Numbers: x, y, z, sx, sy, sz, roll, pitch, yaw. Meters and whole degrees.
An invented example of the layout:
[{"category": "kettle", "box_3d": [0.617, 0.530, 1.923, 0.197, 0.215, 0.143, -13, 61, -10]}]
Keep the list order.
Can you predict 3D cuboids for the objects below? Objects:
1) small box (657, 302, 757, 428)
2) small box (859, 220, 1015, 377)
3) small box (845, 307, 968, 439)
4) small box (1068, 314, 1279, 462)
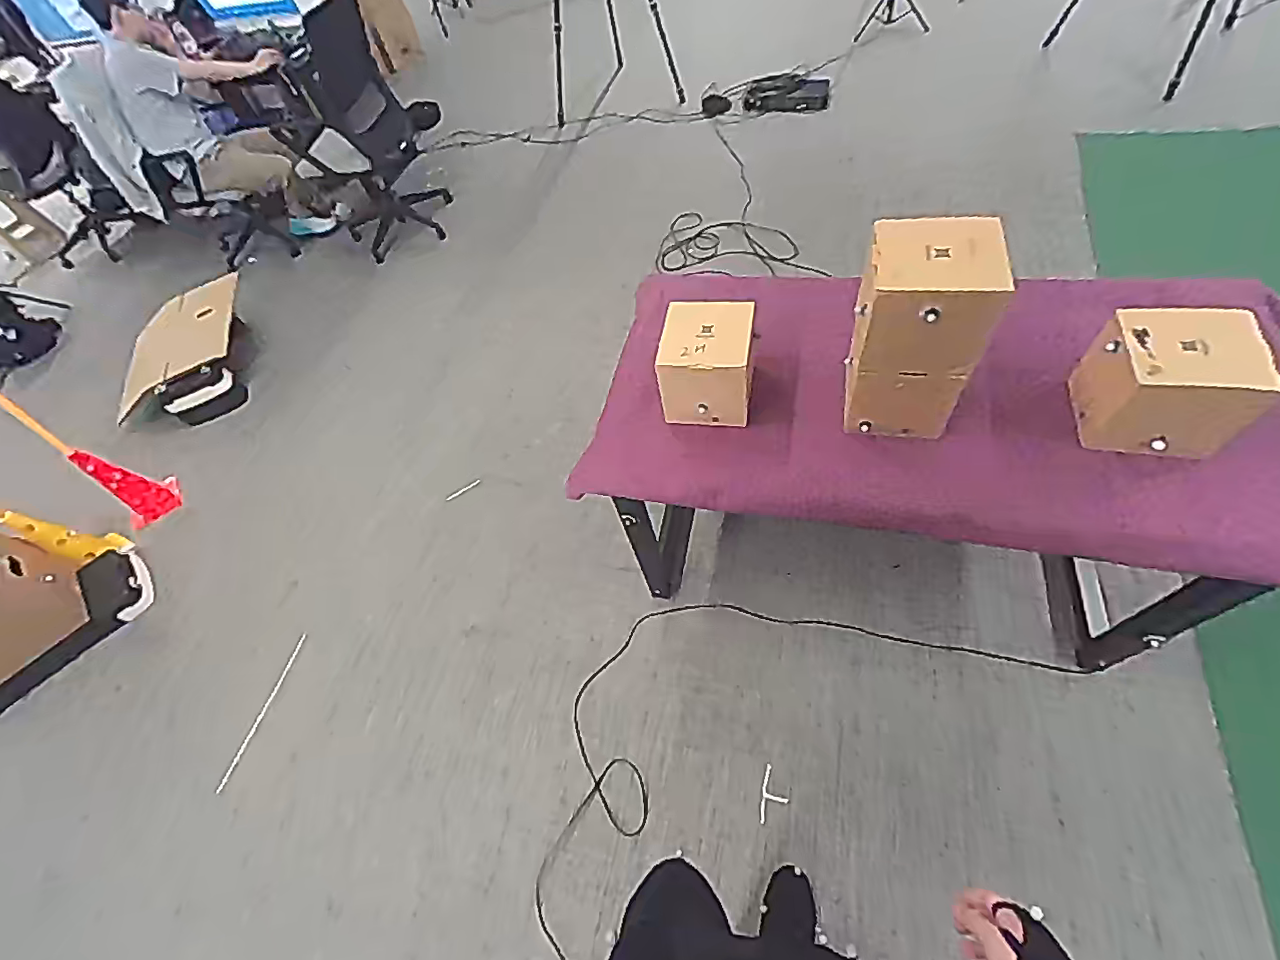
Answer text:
[{"category": "small box", "box_3d": [0.137, -0.226, 1.063, 0.168, 0.176, 0.179, 5, 58, 14]}, {"category": "small box", "box_3d": [0.446, -0.278, 0.843, 0.179, 0.176, 0.168, 6, 59, 15]}, {"category": "small box", "box_3d": [0.472, -0.192, 0.979, 0.168, 0.176, 0.179, 6, 58, 14]}, {"category": "small box", "box_3d": [0.846, -0.145, 0.878, 0.179, 0.176, 0.168, 7, 58, 15]}]
